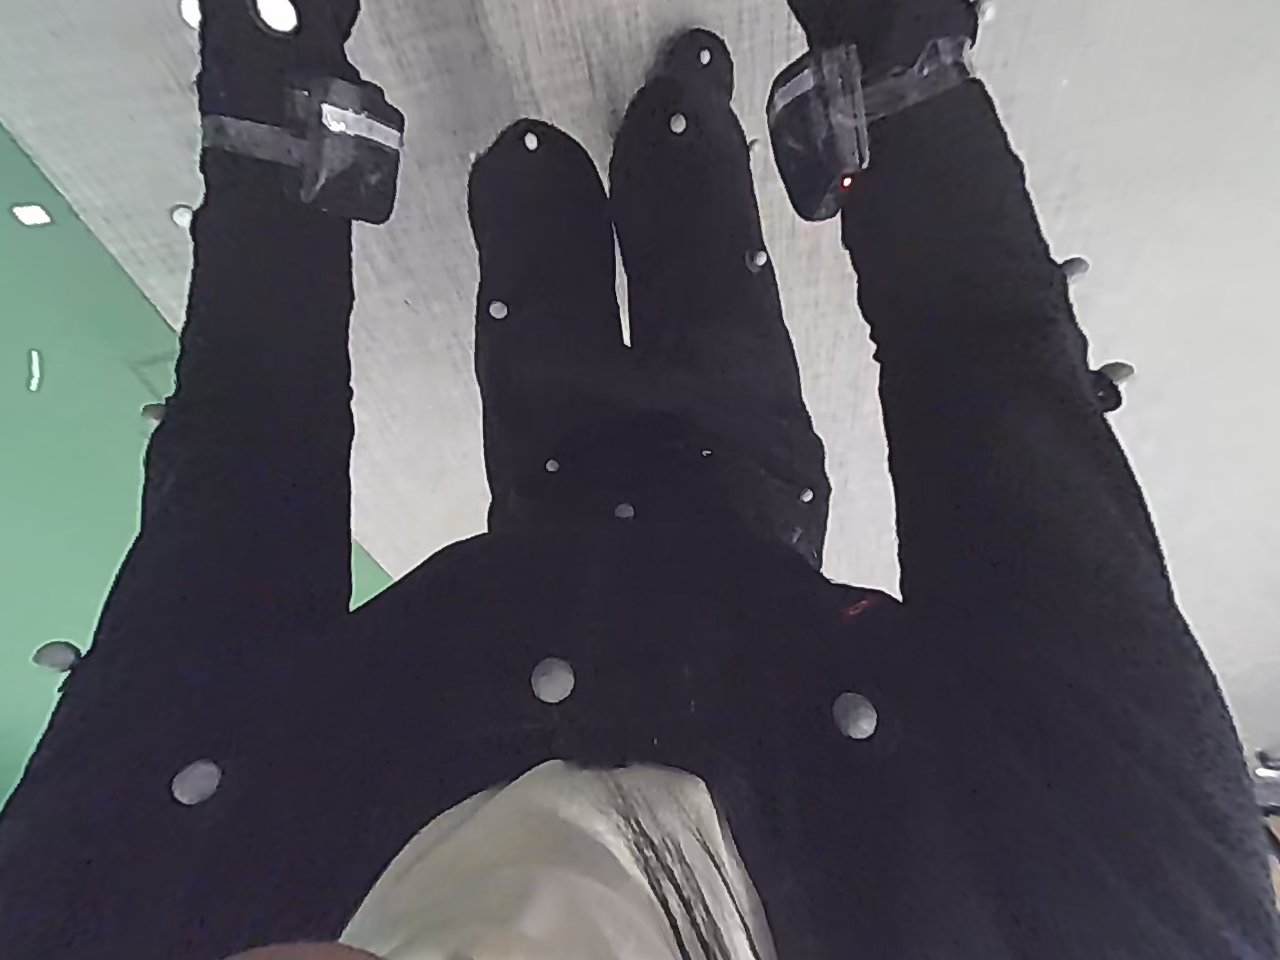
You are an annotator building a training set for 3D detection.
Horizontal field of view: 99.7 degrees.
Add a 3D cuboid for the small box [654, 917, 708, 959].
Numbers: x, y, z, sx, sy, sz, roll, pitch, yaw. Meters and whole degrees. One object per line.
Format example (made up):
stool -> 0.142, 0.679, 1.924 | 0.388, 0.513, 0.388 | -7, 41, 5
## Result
small box -> 0.147, 1.668, 1.915 | 0.179, 0.176, 0.168 | -8, 135, 8
